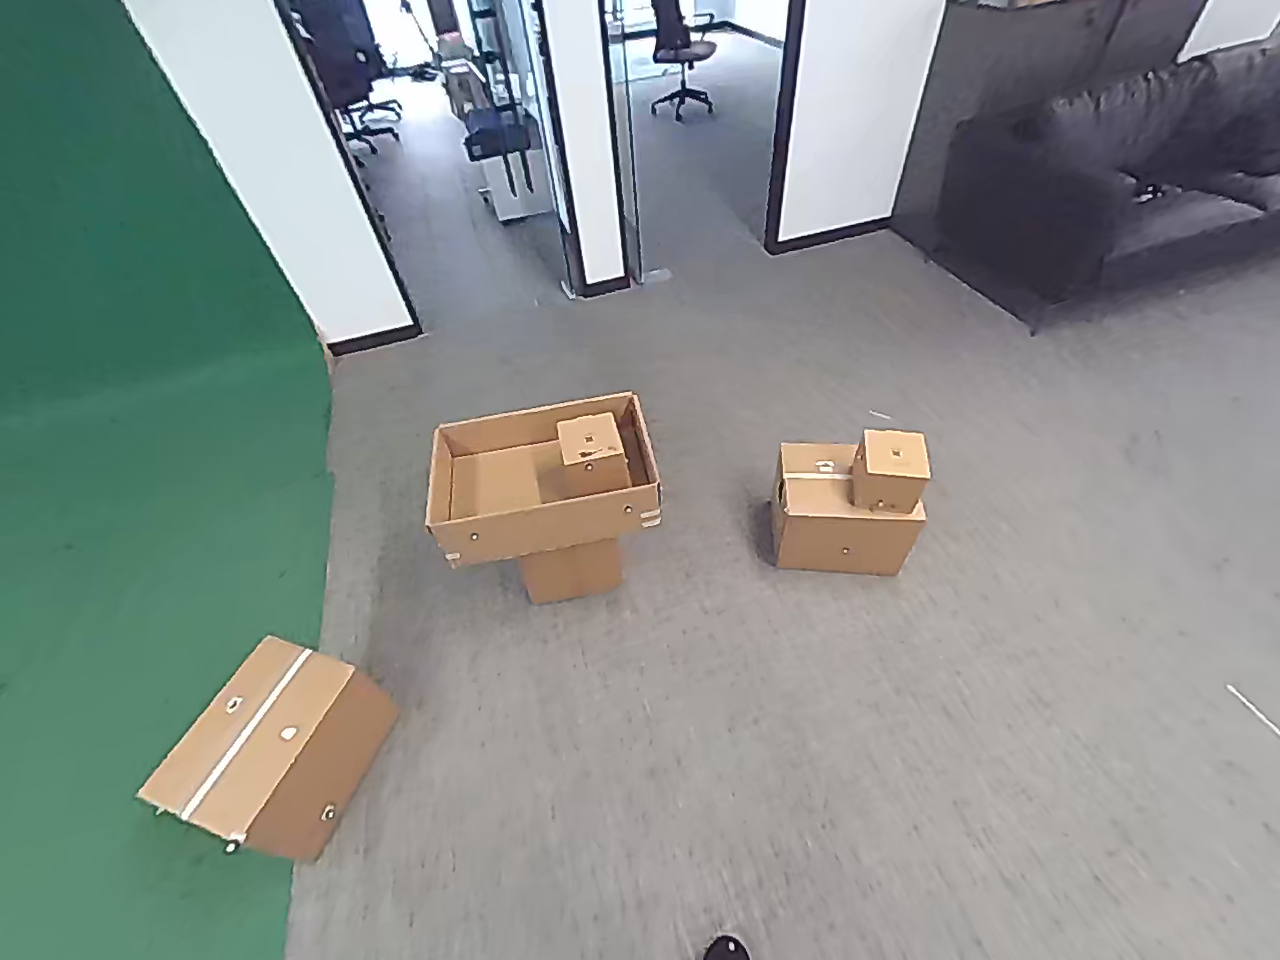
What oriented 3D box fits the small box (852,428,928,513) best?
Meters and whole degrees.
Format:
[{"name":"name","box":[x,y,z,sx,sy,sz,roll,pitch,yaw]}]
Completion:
[{"name":"small box","box":[0.727,-0.027,1.592,0.168,0.176,0.179,6,52,11]}]

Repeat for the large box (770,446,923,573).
[{"name":"large box","box":[0.660,0.101,1.813,0.408,0.320,0.320,1,48,7]}]
